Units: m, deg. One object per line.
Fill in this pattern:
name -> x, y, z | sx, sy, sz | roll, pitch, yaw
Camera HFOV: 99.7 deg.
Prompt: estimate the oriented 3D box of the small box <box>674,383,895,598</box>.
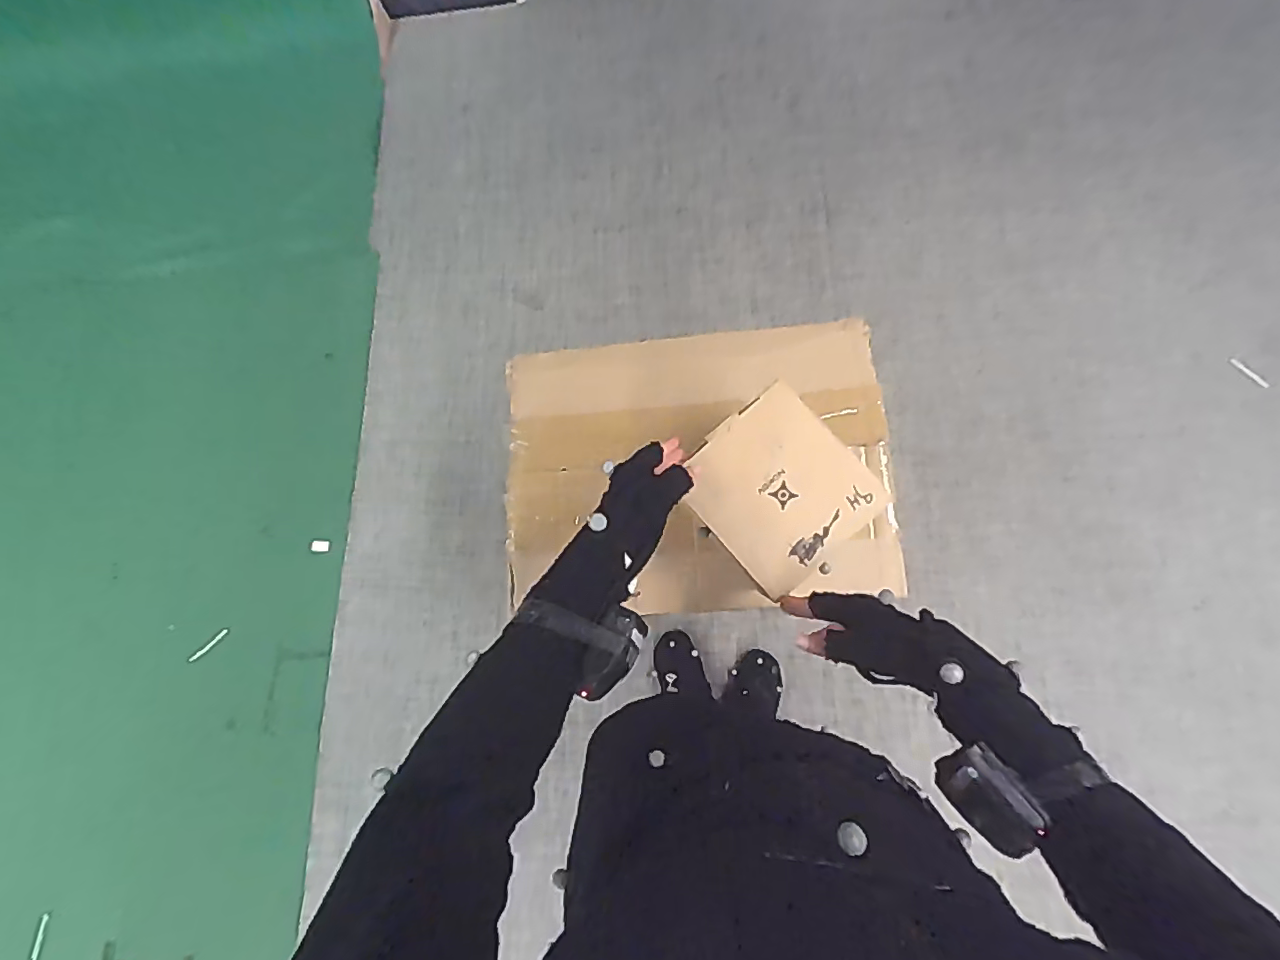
small box -> 0.157, 0.019, 0.650 | 0.168, 0.176, 0.179 | -40, 82, 0
